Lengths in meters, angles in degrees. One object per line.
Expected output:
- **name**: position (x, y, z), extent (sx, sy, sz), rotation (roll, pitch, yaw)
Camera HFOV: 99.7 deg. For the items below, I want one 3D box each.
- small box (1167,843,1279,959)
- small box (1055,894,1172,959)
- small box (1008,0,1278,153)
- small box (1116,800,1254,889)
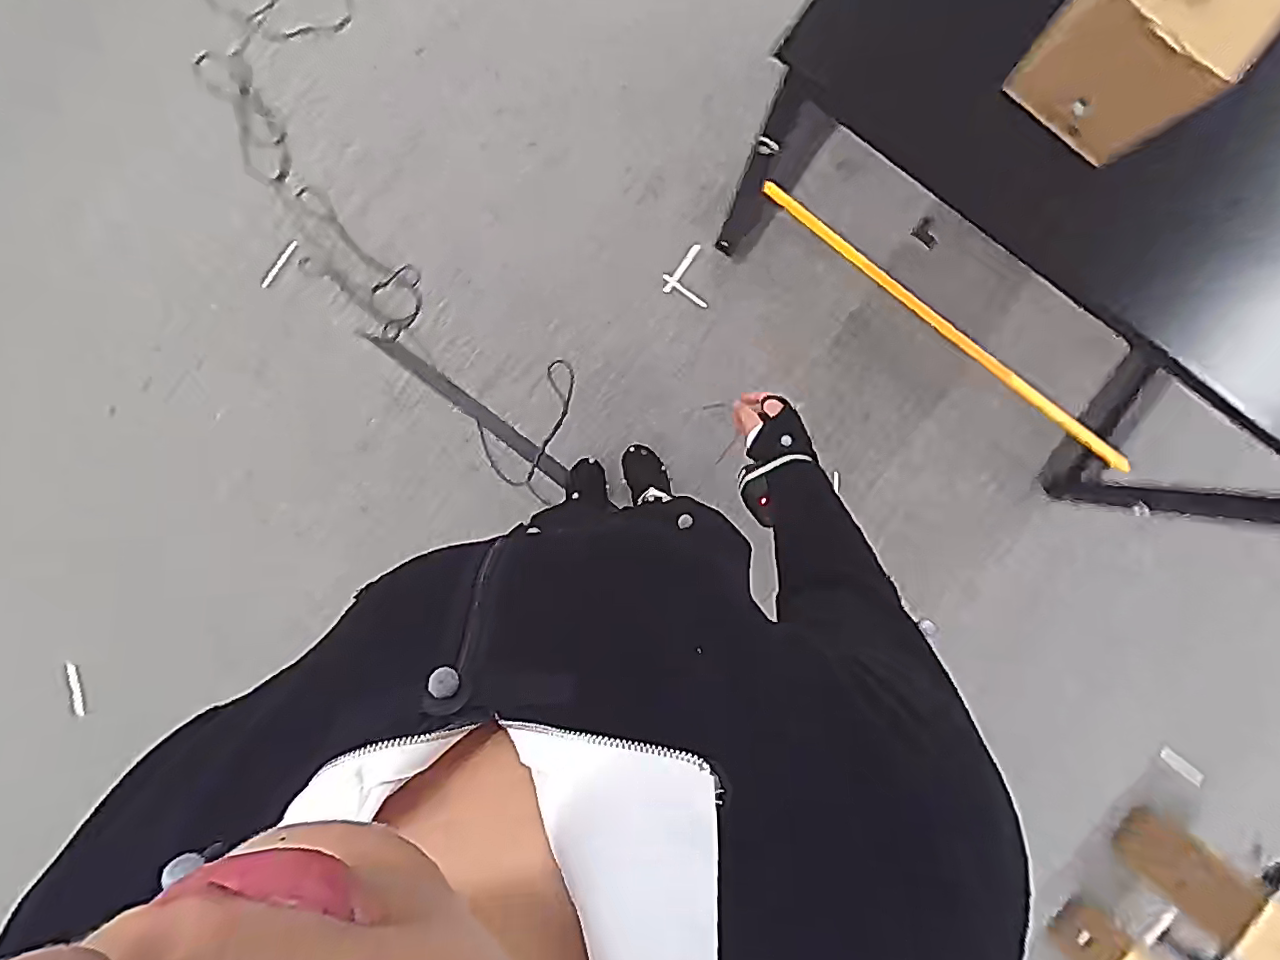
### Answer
- **small box**: position (1.472, 1.040, 1.318), extent (0.179, 0.176, 0.168), rotation (32, 92, -1)
- **small box**: position (1.318, 1.307, 1.500), extent (0.179, 0.176, 0.168), rotation (36, 93, -1)
- **small box**: position (0.600, -0.550, 0.649), extent (0.168, 0.176, 0.179), rotation (37, 92, -2)
- **small box**: position (1.476, 1.029, 1.480), extent (0.168, 0.176, 0.179), rotation (34, 93, -2)
